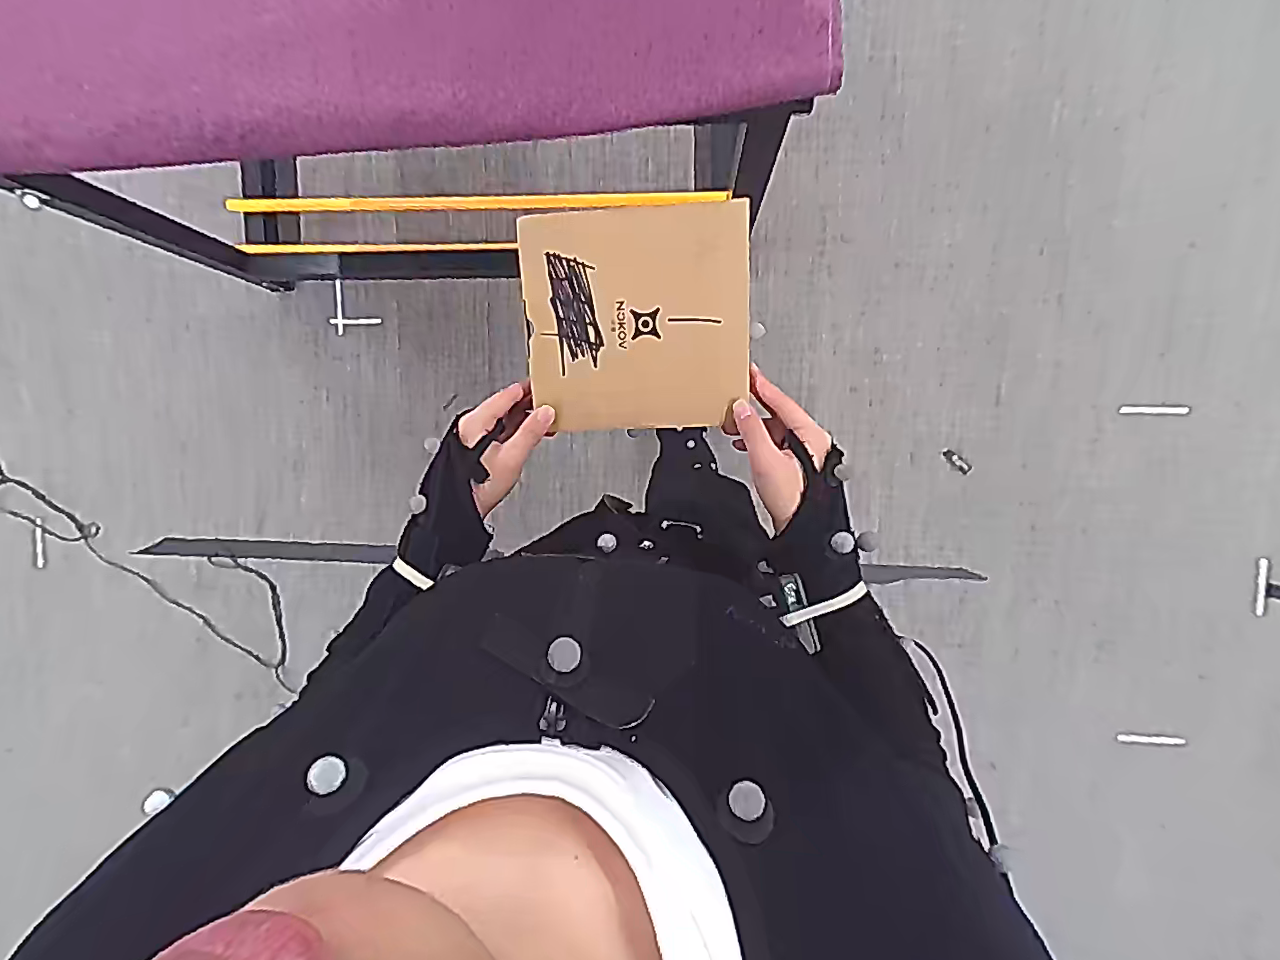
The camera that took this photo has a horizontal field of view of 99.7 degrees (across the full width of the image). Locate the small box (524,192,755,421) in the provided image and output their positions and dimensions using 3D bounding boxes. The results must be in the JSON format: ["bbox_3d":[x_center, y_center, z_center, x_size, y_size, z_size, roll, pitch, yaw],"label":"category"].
[{"bbox_3d":[0.011,-0.143,0.491,0.179,0.176,0.168,0,103,9],"label":"small box"}]
